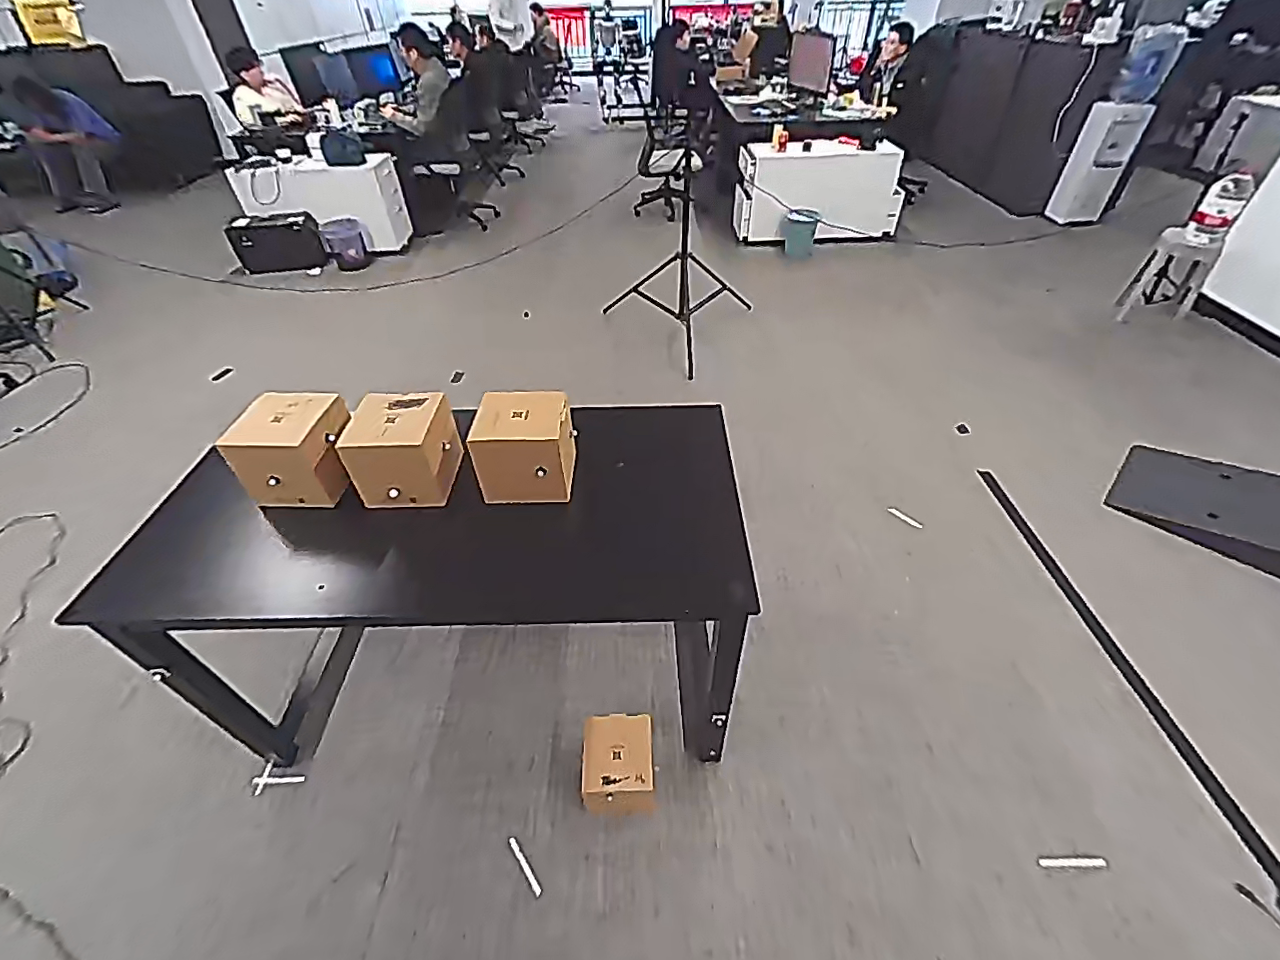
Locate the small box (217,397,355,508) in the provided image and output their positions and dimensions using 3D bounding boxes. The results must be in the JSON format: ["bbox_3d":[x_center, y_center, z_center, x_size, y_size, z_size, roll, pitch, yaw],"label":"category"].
[{"bbox_3d":[-0.709,-0.056,1.126,0.168,0.176,0.179,1,43,2],"label":"small box"}]

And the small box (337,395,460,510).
[{"bbox_3d":[-0.485,-0.057,1.119,0.168,0.176,0.179,-2,44,-1],"label":"small box"}]

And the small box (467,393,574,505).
[{"bbox_3d":[-0.236,-0.063,1.120,0.179,0.176,0.168,-2,41,1],"label":"small box"}]

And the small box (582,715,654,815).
[{"bbox_3d":[-0.050,0.709,1.347,0.168,0.176,0.179,-3,42,0],"label":"small box"}]
